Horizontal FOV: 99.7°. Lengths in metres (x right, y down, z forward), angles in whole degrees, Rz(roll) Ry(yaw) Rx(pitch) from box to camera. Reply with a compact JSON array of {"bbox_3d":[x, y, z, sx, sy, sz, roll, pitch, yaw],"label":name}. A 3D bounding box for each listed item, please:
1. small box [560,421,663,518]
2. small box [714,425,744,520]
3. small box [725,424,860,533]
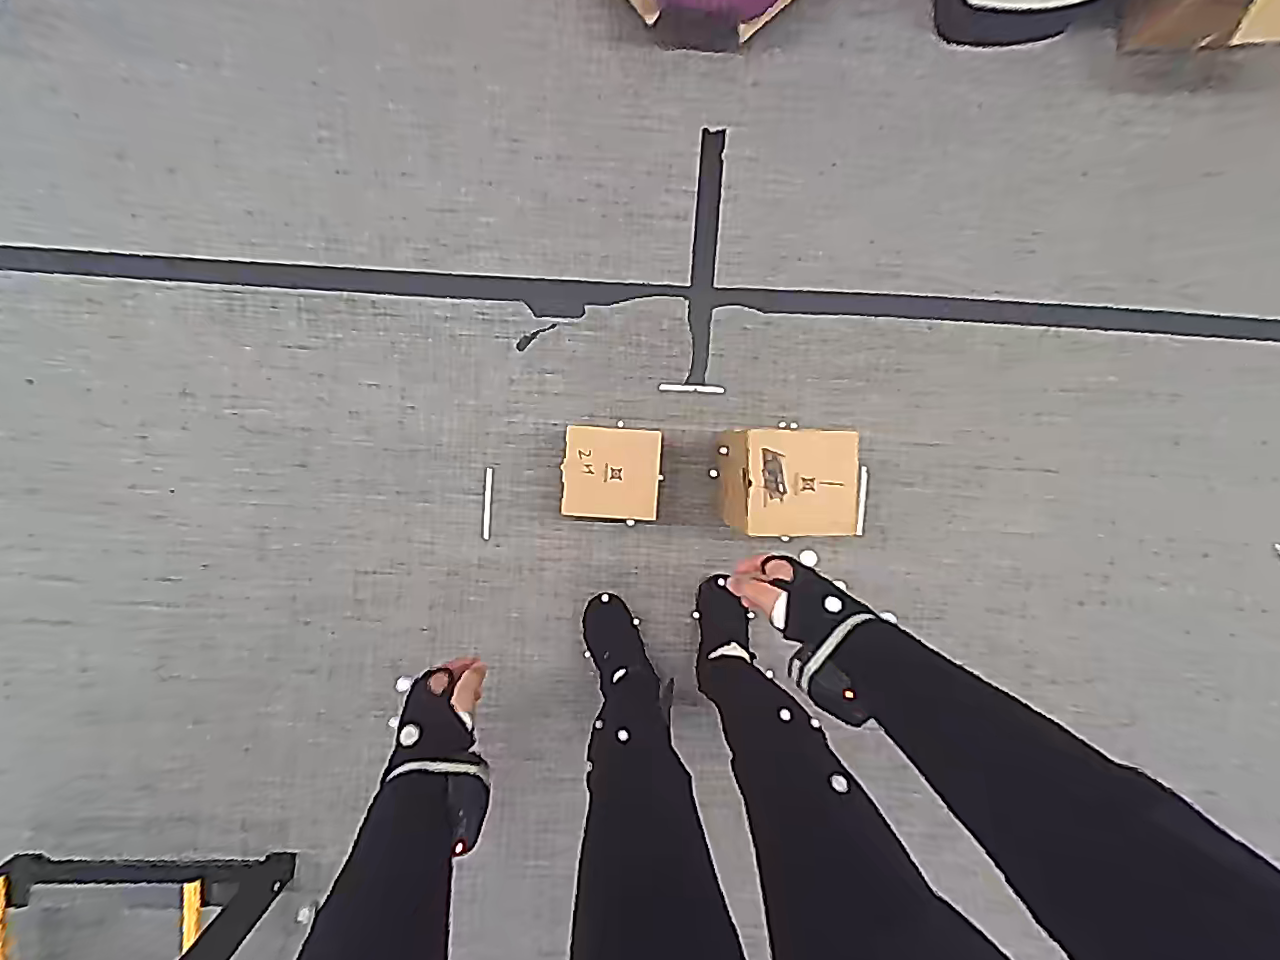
[{"bbox_3d":[-0.056,-0.024,1.050,0.179,0.176,0.168,4,93,-3],"label":"small box"},{"bbox_3d":[0.242,-0.018,1.067,0.168,0.176,0.179,1,94,-3],"label":"small box"},{"bbox_3d":[0.243,-0.005,0.902,0.179,0.176,0.168,1,93,-4],"label":"small box"}]
